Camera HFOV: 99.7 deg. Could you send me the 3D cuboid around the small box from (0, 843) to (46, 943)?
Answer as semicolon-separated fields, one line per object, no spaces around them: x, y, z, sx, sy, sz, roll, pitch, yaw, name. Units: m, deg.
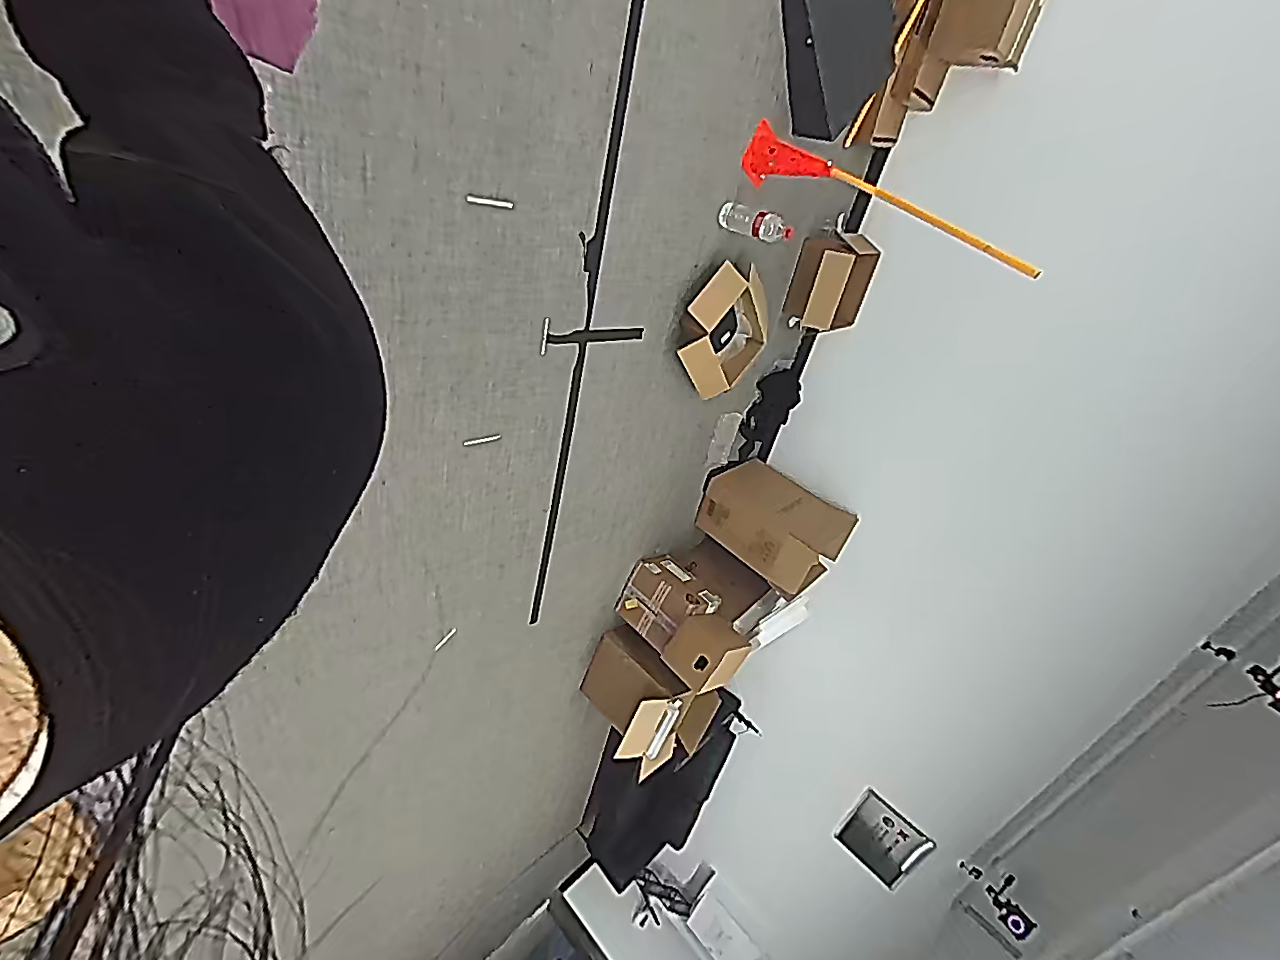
-1.740;1.120;1.441;0.168;0.176;0.179;-19;134;-43;small box
